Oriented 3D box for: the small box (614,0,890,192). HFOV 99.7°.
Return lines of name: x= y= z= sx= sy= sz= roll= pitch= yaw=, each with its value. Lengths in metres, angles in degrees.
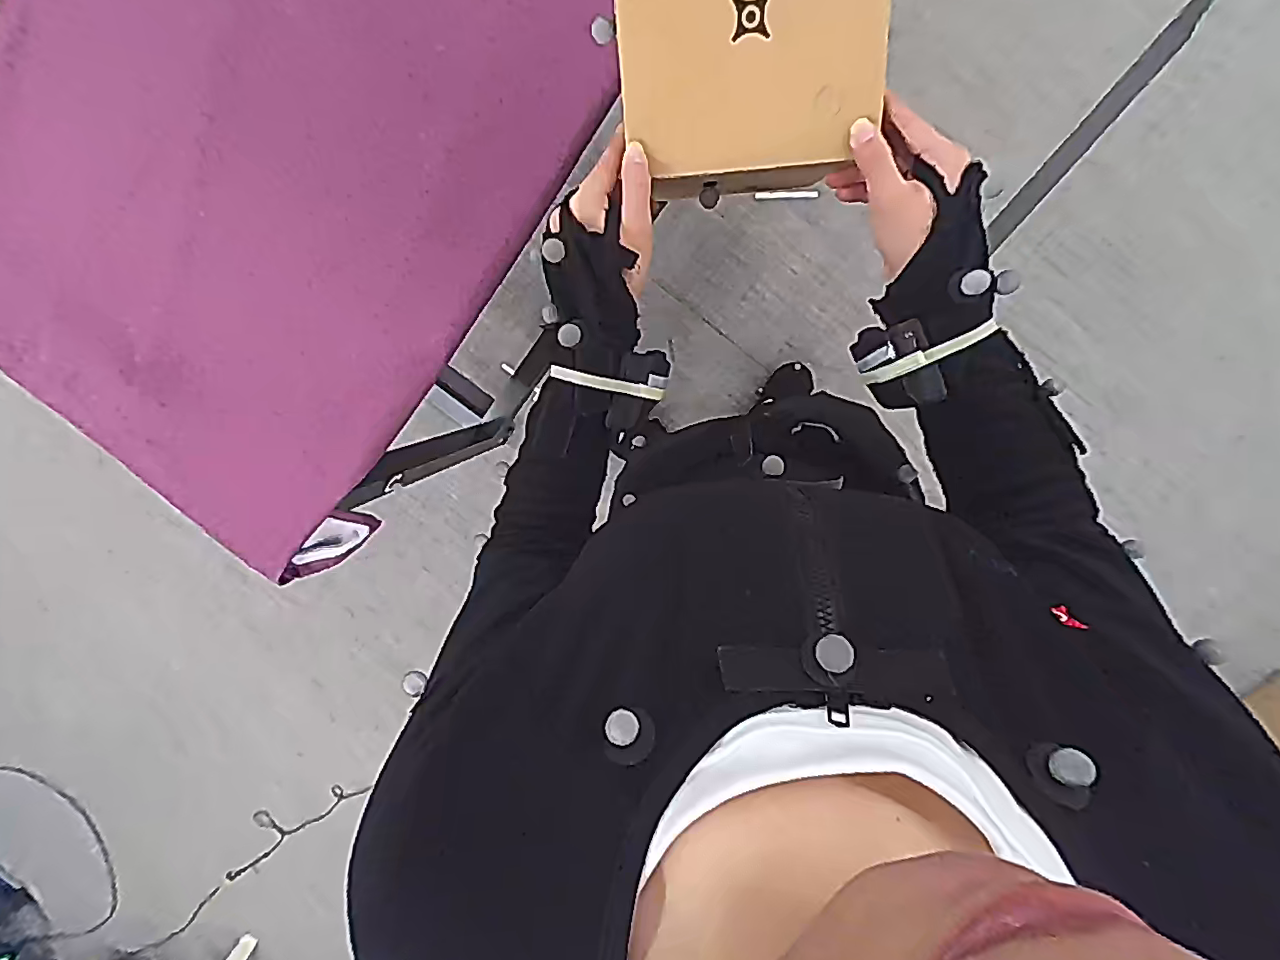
small box: x=0.070 y=-0.318 z=0.396 sx=0.168 sy=0.176 sz=0.179 roll=-3 pitch=111 yaw=4
